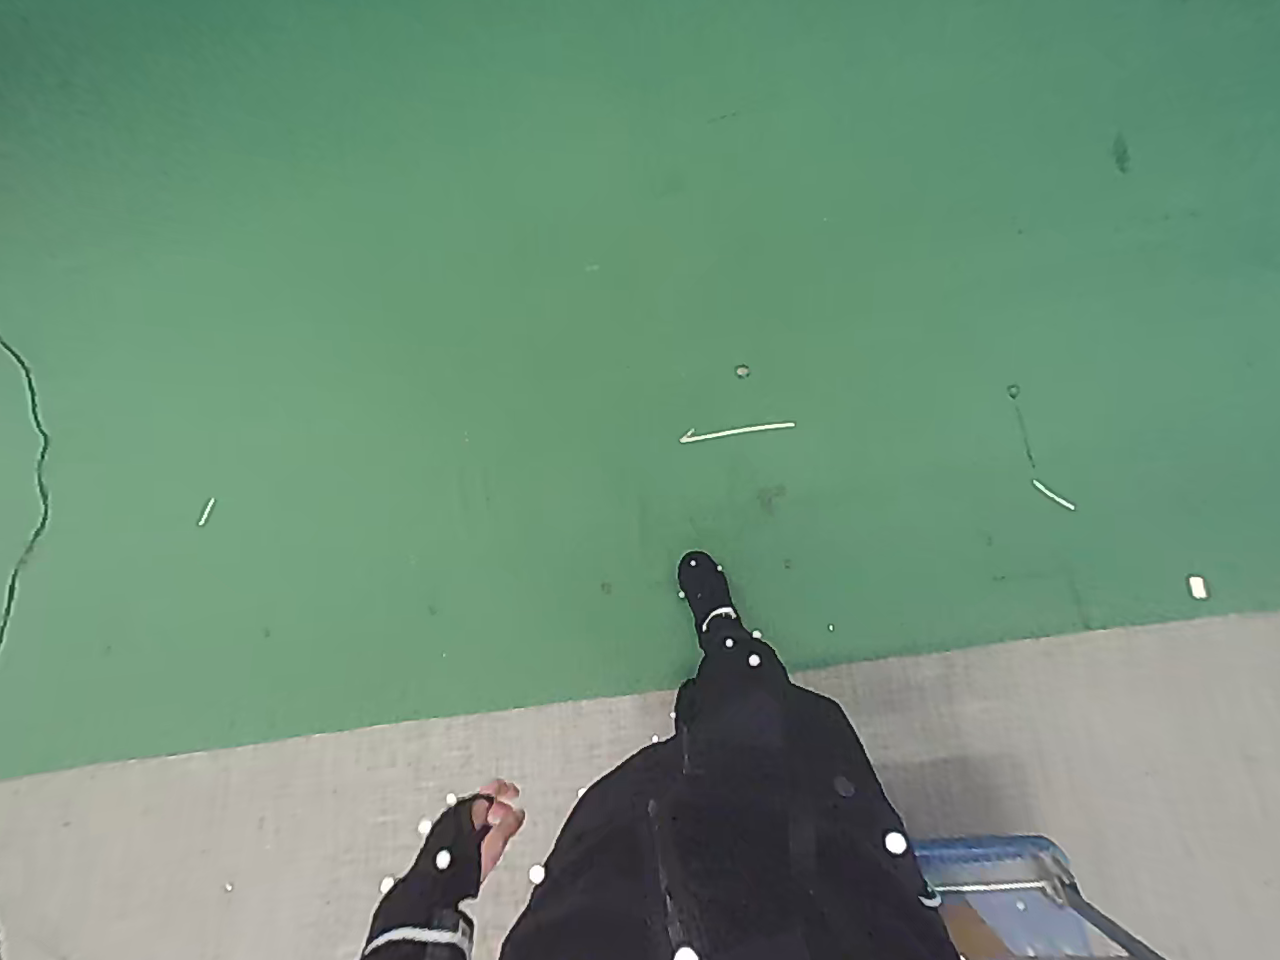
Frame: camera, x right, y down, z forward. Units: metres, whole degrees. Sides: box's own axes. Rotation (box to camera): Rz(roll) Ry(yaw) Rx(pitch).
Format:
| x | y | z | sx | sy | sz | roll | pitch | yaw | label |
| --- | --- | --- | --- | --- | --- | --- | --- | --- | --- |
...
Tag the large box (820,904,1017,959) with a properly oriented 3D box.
| x | y | z | sx | sy | sz | roll | pitch | yaw | label |
| --- | --- | --- | --- | --- | --- | --- | --- | --- | --- |
| 0.526 | 1.034 | 0.910 | 0.320 | 0.320 | 0.408 | -8 | 78 | 5 | large box |
